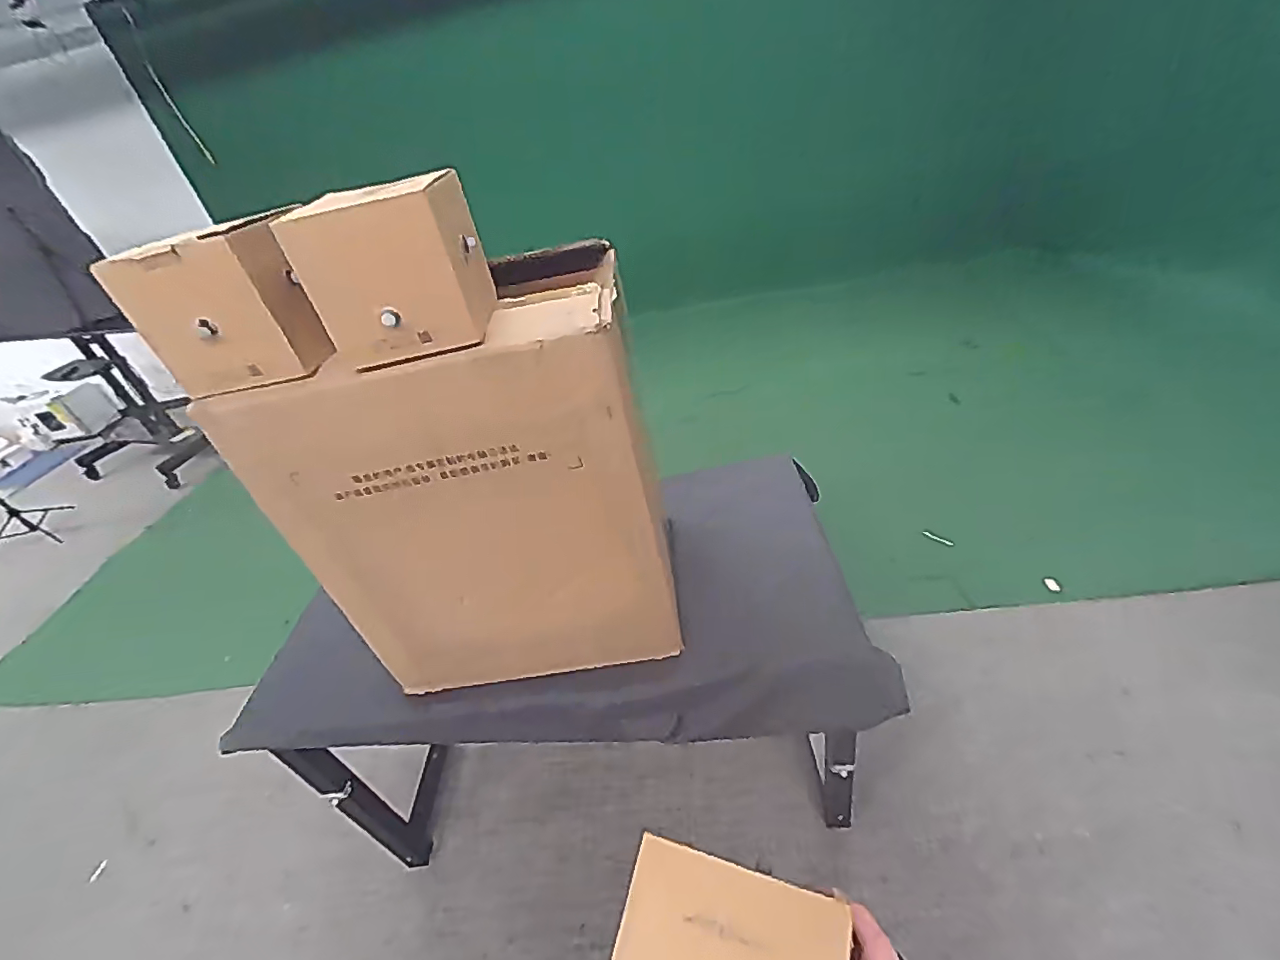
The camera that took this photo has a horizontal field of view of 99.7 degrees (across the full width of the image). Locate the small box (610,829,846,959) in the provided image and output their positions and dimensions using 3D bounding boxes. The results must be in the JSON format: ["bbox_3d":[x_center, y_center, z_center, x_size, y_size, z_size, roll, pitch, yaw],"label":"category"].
[{"bbox_3d":[0.069,0.421,0.443,0.168,0.176,0.179,7,53,18],"label":"small box"}]

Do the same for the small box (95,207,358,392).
[{"bbox_3d":[-0.499,-0.224,0.691,0.168,0.176,0.179,-10,36,6],"label":"small box"}]
